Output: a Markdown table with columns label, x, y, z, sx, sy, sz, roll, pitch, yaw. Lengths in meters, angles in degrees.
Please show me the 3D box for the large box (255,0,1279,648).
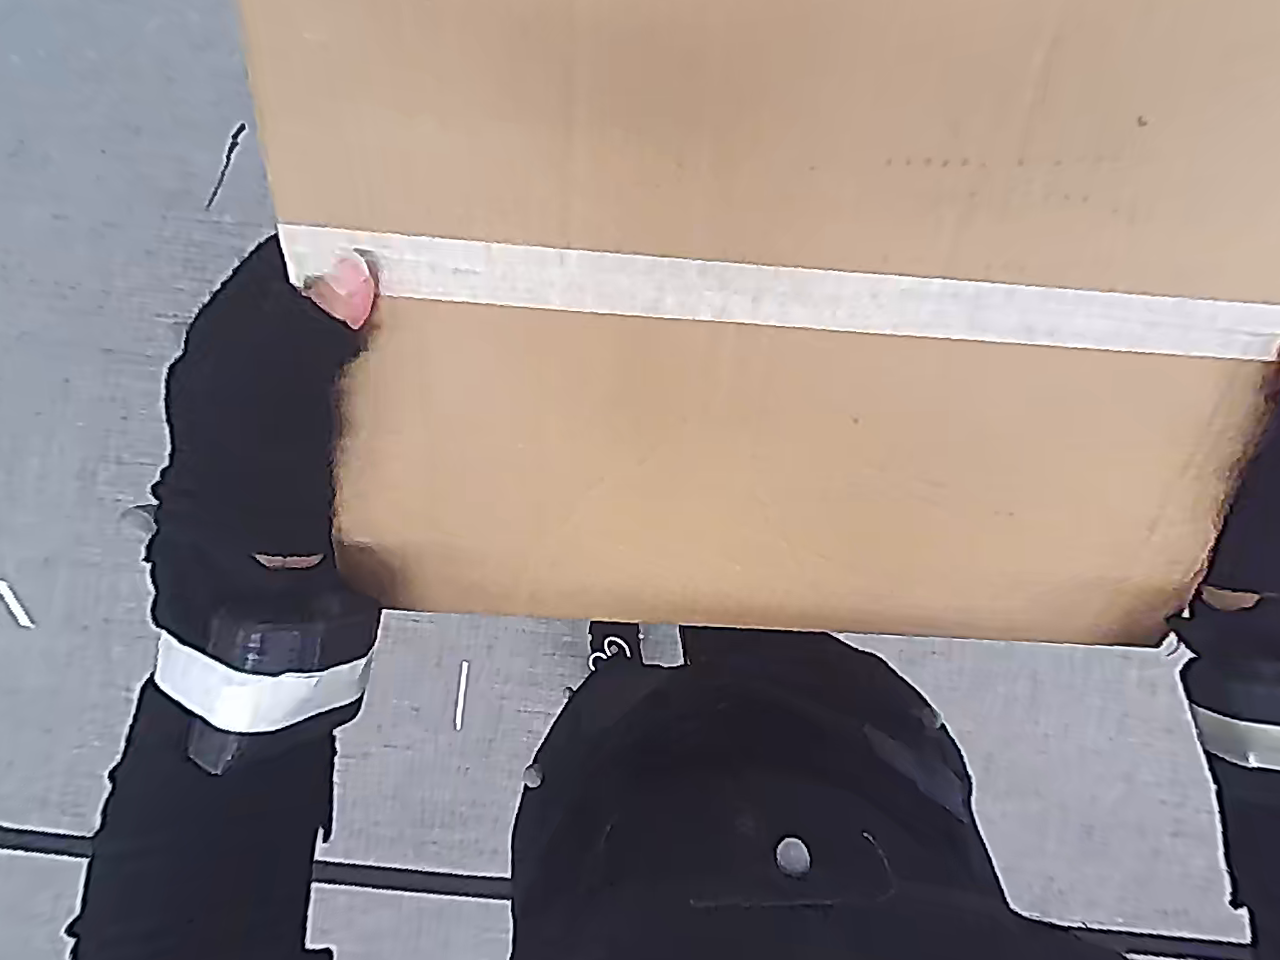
| label | x | y | z | sx | sy | sz | roll | pitch | yaw |
| --- | --- | --- | --- | --- | --- | --- | --- | --- | --- |
| large box | 0.068 | -0.118 | 0.353 | 0.408 | 0.320 | 0.320 | 3 | 114 | -3 |
